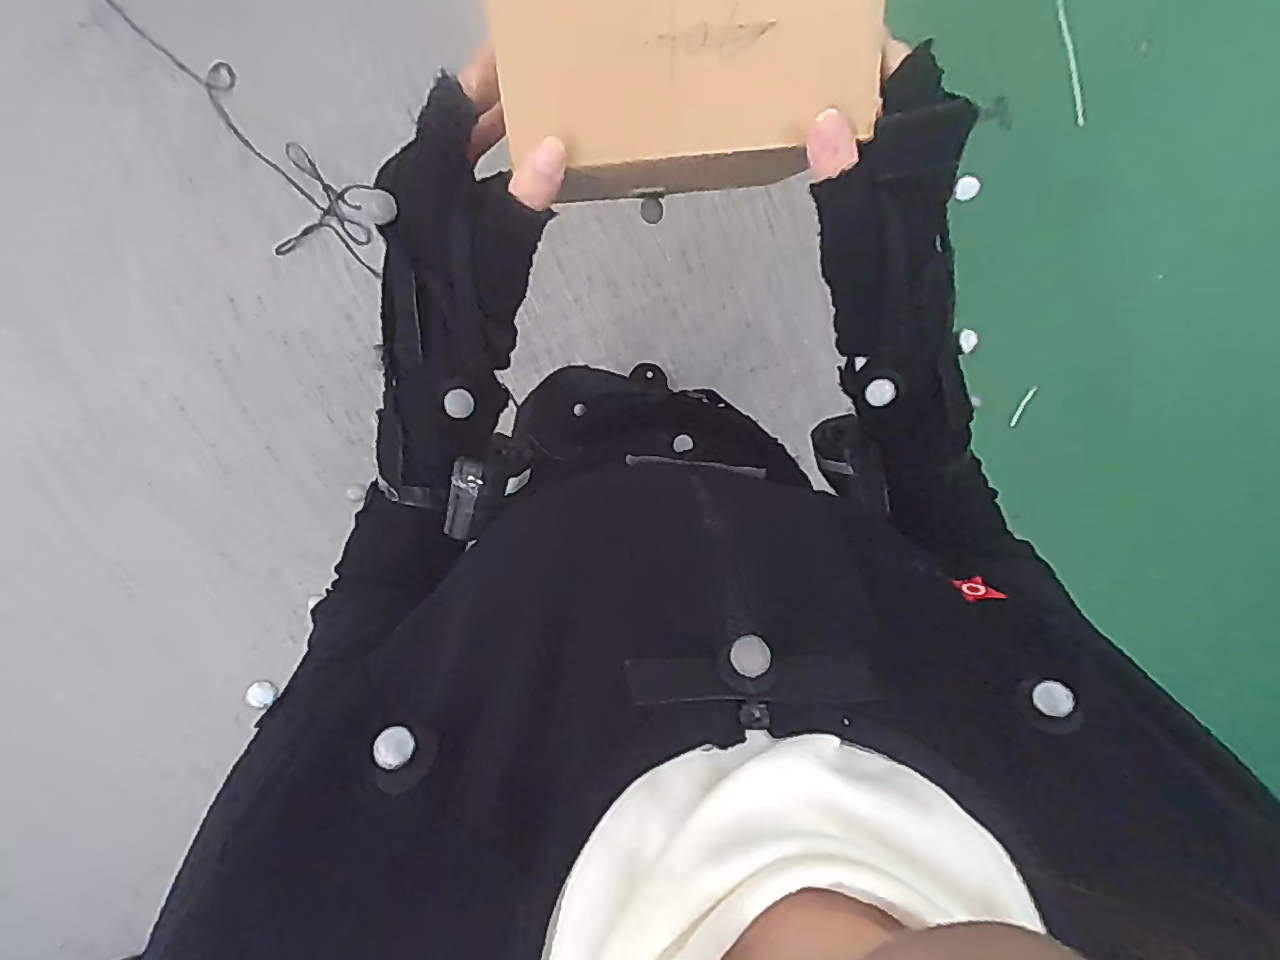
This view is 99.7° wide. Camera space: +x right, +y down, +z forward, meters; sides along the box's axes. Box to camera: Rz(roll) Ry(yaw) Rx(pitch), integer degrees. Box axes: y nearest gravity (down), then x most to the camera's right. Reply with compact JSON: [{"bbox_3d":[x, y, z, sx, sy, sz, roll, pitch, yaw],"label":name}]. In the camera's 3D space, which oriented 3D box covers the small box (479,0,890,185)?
[{"bbox_3d":[0.010,-0.262,0.270,0.168,0.176,0.179,-6,112,-1],"label":"small box"}]
